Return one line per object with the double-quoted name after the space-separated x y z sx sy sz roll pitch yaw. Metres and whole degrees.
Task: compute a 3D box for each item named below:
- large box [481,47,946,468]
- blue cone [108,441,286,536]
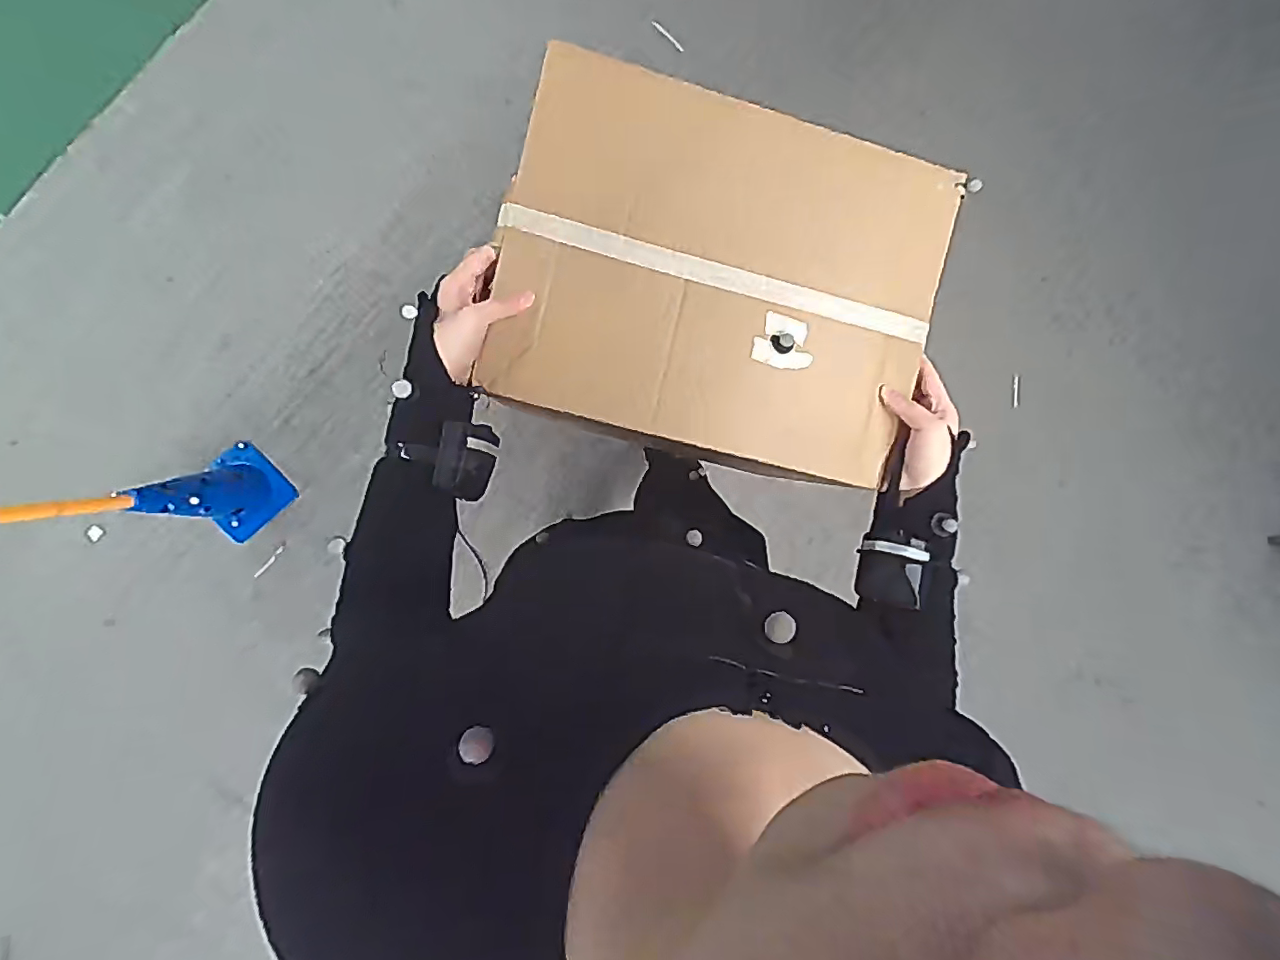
0.058 -0.205 0.653 0.408 0.320 0.320 13 92 -7 "large box"
-1.003 0.024 1.208 0.193 0.380 0.192 -41 94 -5 "blue cone"
